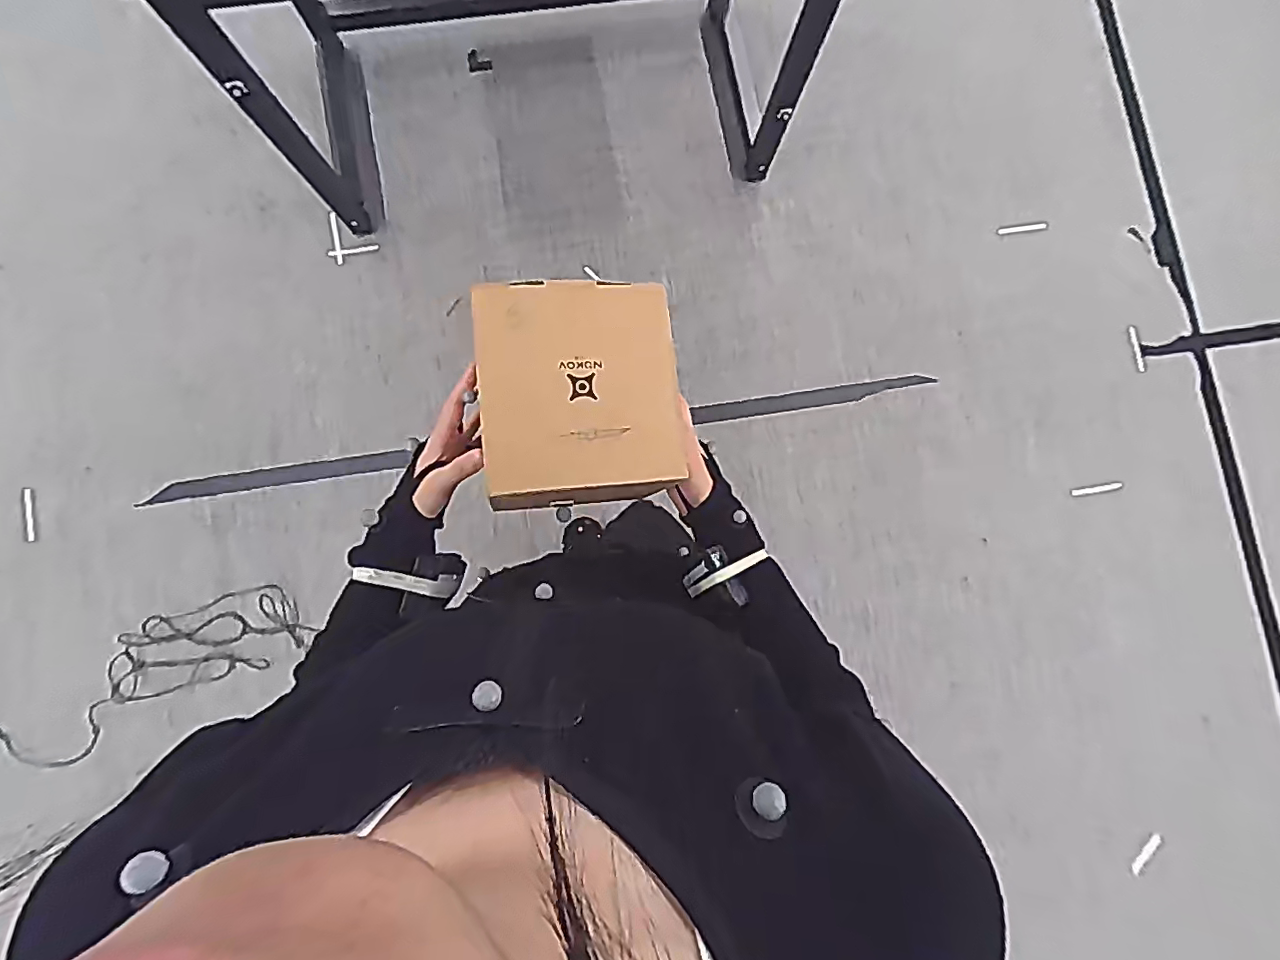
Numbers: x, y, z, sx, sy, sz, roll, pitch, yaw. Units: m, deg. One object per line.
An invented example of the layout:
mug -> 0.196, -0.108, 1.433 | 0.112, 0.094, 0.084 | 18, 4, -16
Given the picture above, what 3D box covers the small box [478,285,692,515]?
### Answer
small box -> -0.062, -0.065, 0.518 | 0.168, 0.176, 0.179 | -5, 84, -13
